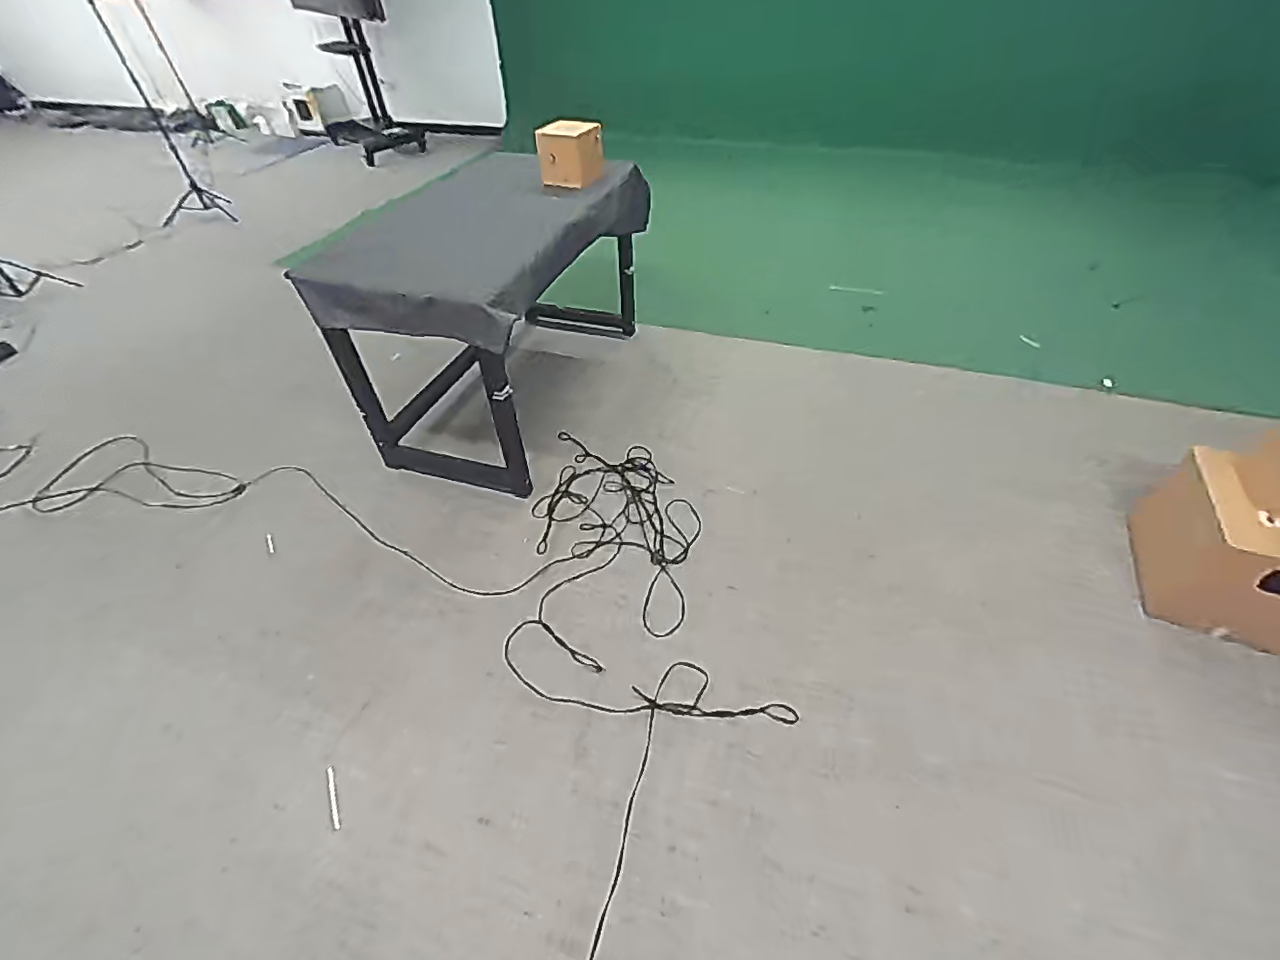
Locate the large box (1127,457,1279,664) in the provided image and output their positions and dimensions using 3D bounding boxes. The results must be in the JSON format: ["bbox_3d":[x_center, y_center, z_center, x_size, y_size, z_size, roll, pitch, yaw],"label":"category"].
[{"bbox_3d":[1.619,0.208,1.467,0.320,0.320,0.408,17,48,19],"label":"large box"}]

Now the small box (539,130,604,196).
[{"bbox_3d":[-0.237,-1.144,1.950,0.168,0.176,0.179,17,47,19],"label":"small box"}]
